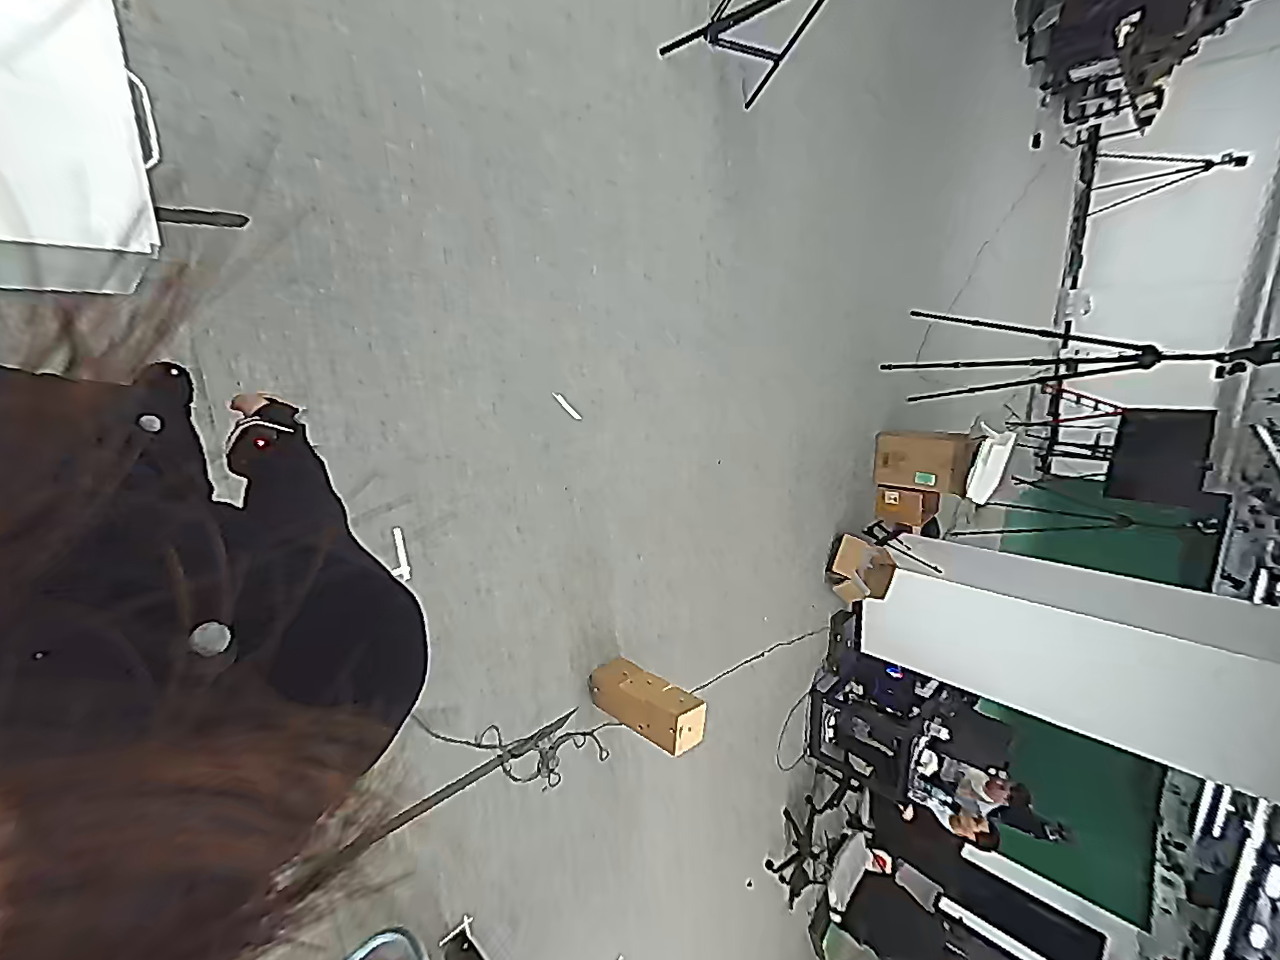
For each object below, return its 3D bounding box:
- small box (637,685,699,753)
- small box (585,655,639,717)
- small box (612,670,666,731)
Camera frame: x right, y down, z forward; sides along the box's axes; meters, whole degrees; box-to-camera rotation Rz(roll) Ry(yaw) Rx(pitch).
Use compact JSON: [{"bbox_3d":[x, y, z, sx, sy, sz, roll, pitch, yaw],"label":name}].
[{"bbox_3d":[0.111,0.942,2.153,0.179,0.176,0.168,-3,100,-47],"label":"small box"},{"bbox_3d":[-0.122,0.898,2.378,0.179,0.176,0.168,-15,108,-44],"label":"small box"},{"bbox_3d":[-0.006,0.921,2.267,0.168,0.176,0.179,-13,107,-45],"label":"small box"}]
